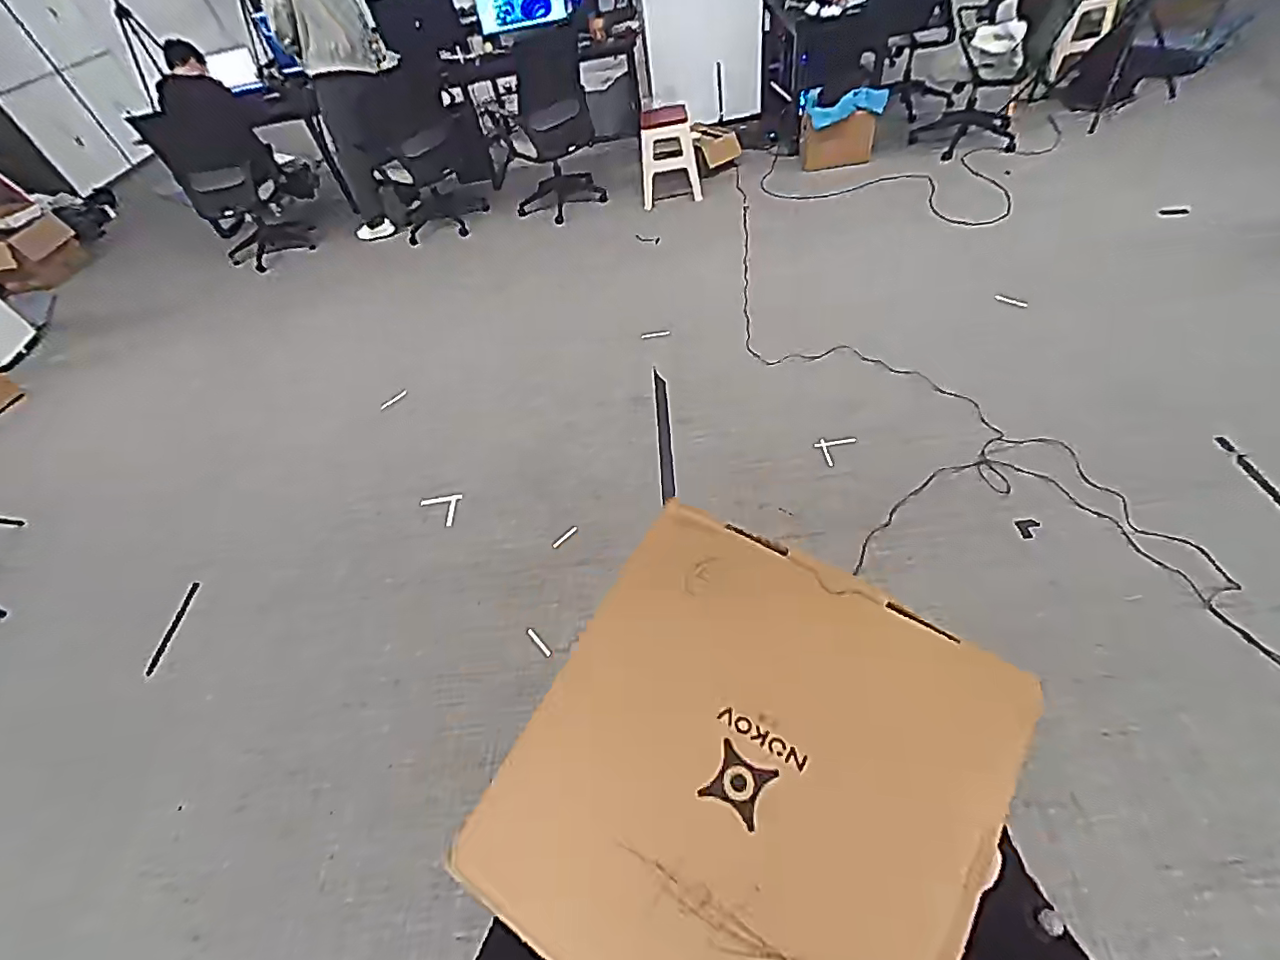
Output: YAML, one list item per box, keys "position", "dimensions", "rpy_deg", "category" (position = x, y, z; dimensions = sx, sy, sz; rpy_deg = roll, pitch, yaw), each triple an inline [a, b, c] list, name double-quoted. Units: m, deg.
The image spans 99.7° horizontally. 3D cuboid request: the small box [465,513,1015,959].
- position: [0.050, 0.151, 0.286]
  dimensions: [0.168, 0.176, 0.179]
  rpy_deg: [25, 71, 20]
  category: "small box"
